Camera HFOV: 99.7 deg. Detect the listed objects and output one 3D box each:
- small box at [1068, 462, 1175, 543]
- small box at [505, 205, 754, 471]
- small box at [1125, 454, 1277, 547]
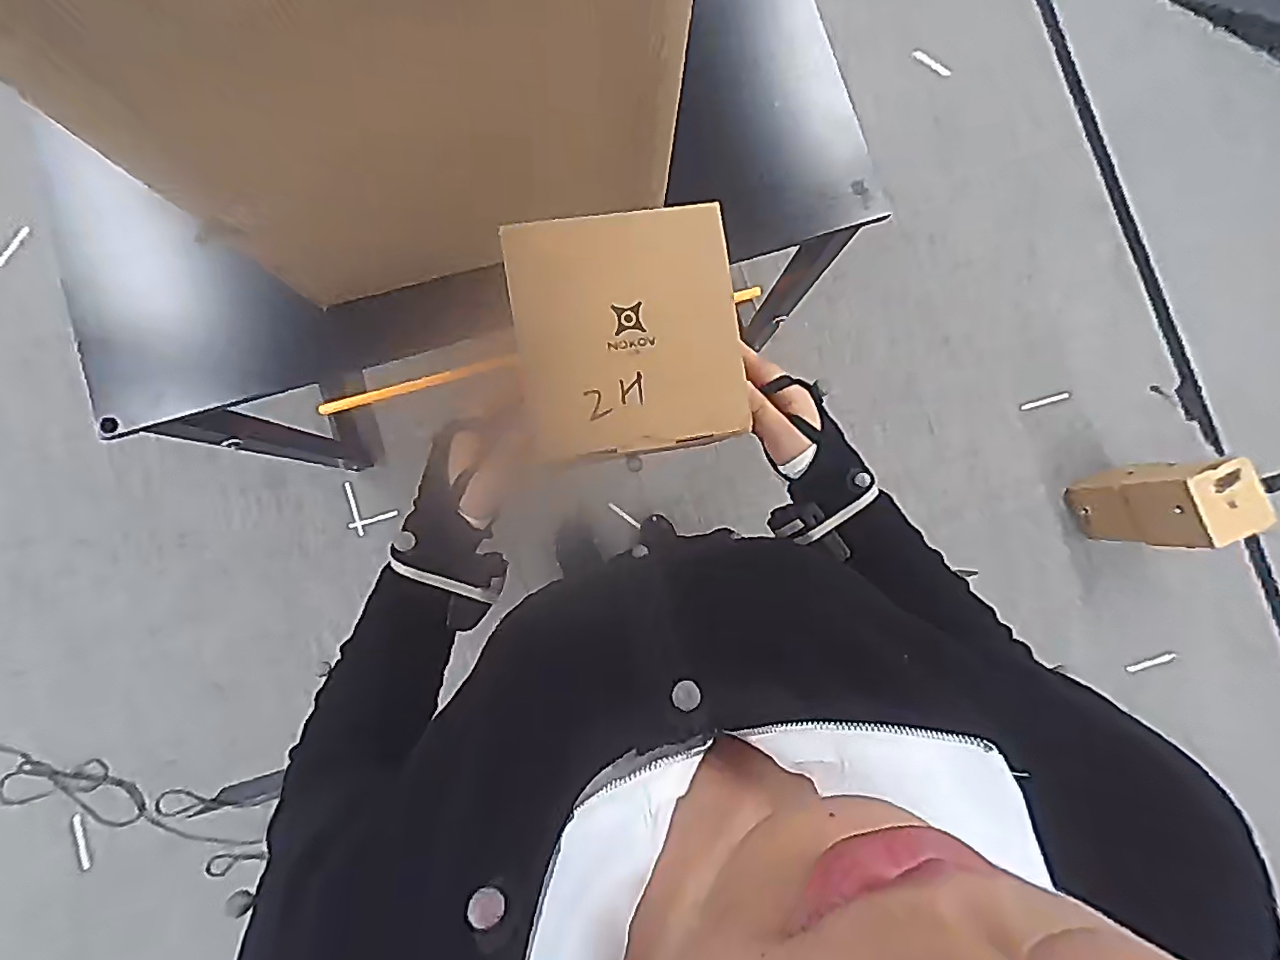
[{"bbox_3d":[1.347,0.063,1.487,0.179,0.176,0.168,-24,86,-2],"label":"small box"},{"bbox_3d":[-0.014,-0.107,0.472,0.168,0.176,0.179,-8,90,-5],"label":"small box"},{"bbox_3d":[1.356,0.054,1.323,0.168,0.176,0.179,-22,87,-3],"label":"small box"}]
